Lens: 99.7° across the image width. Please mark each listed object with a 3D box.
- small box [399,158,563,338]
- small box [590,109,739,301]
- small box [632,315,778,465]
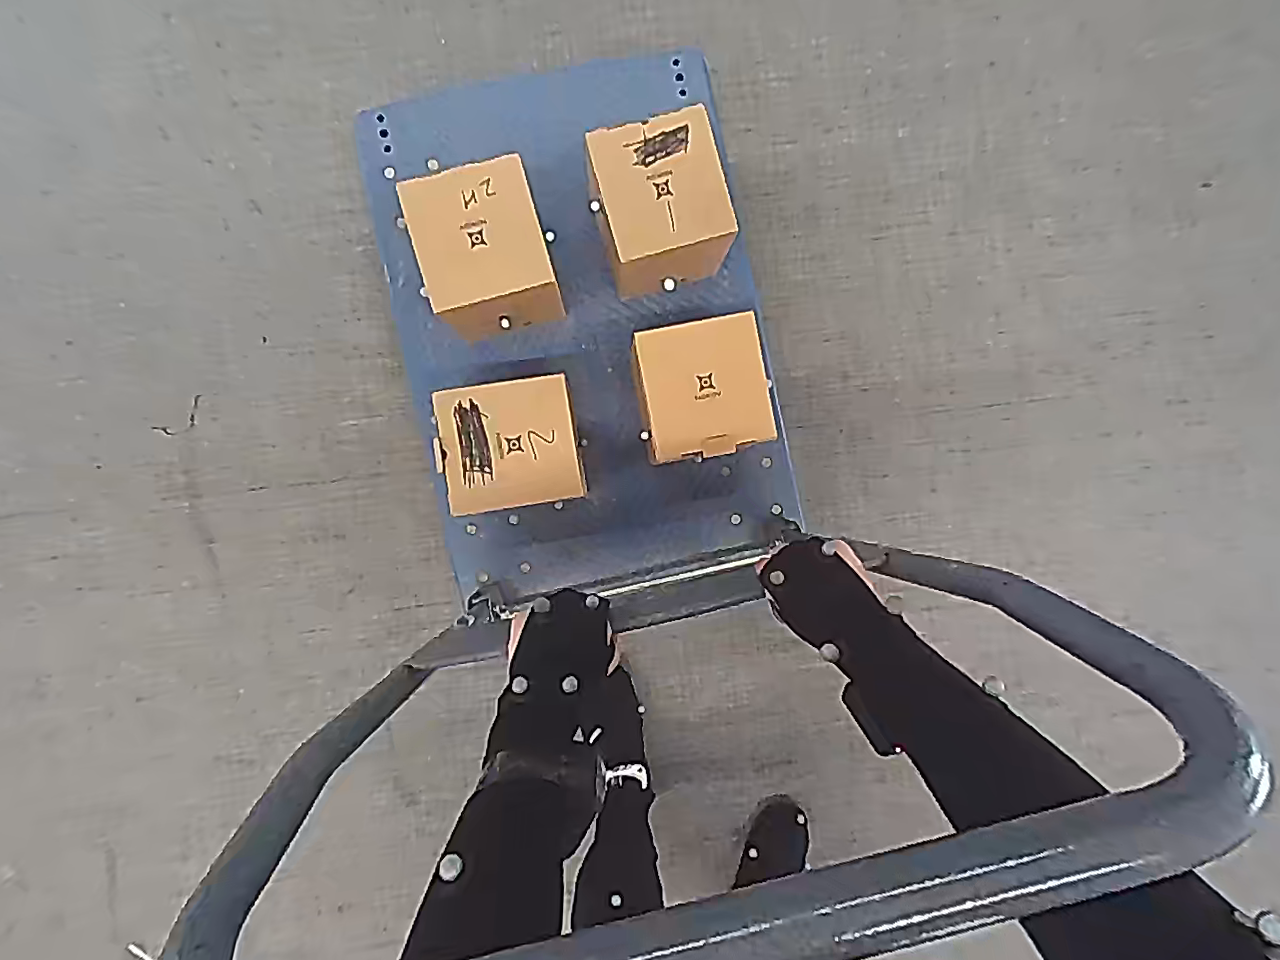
[{"bbox_3d":[-0.214,-0.316,0.779,0.168,0.176,0.179,-16,91,-3],"label":"small box"},{"bbox_3d":[0.028,-0.387,0.789,0.168,0.176,0.179,-16,92,-2],"label":"small box"},{"bbox_3d":[0.085,-0.122,0.796,0.168,0.176,0.179,-11,92,-3],"label":"small box"}]
